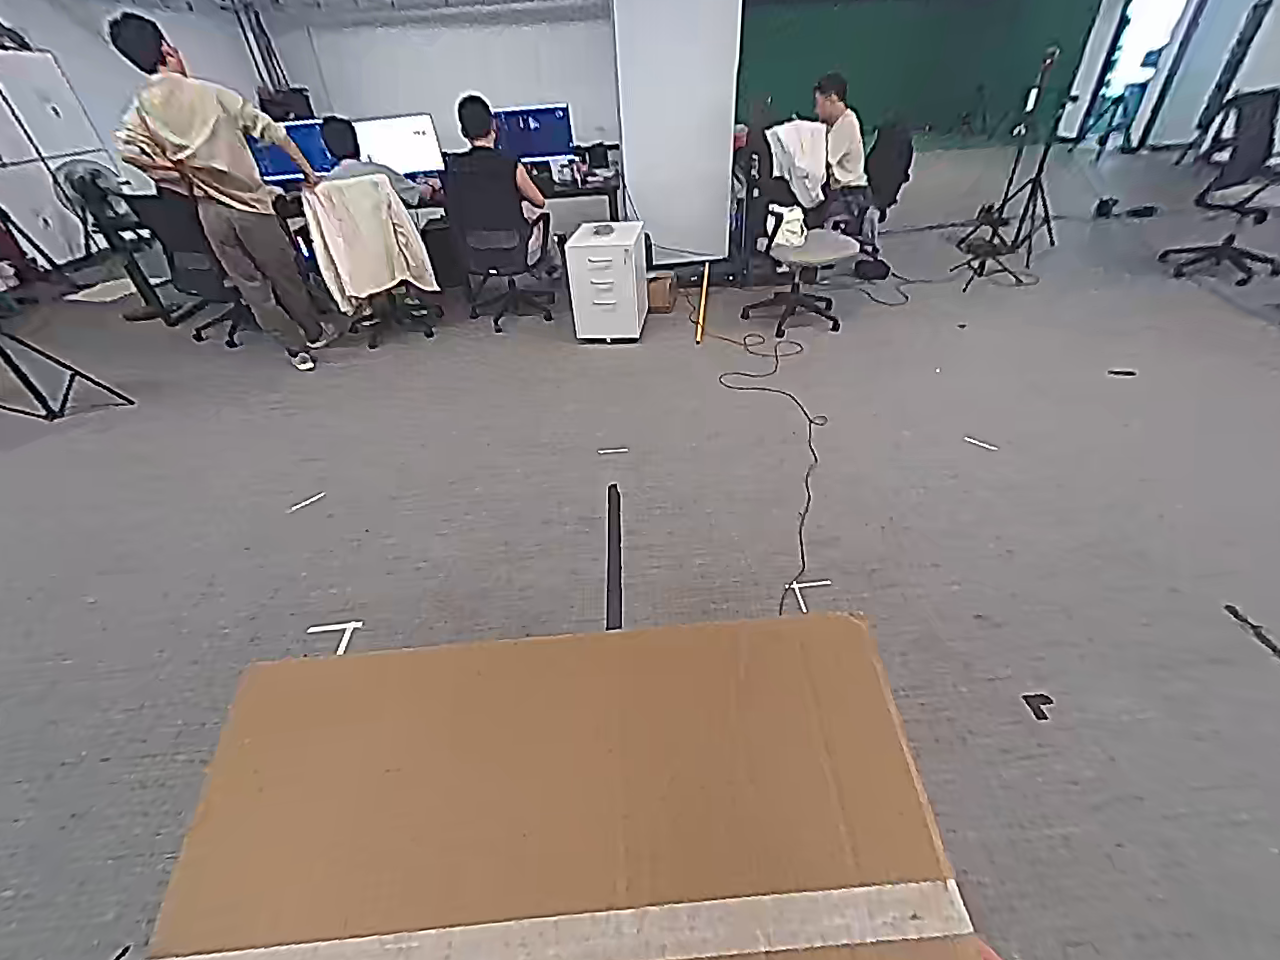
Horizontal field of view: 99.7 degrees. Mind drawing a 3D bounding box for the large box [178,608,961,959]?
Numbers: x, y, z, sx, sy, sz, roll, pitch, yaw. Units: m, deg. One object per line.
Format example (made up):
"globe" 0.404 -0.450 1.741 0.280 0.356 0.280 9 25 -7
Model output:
"large box" -0.037 0.317 0.400 0.408 0.320 0.320 -5 55 -1
